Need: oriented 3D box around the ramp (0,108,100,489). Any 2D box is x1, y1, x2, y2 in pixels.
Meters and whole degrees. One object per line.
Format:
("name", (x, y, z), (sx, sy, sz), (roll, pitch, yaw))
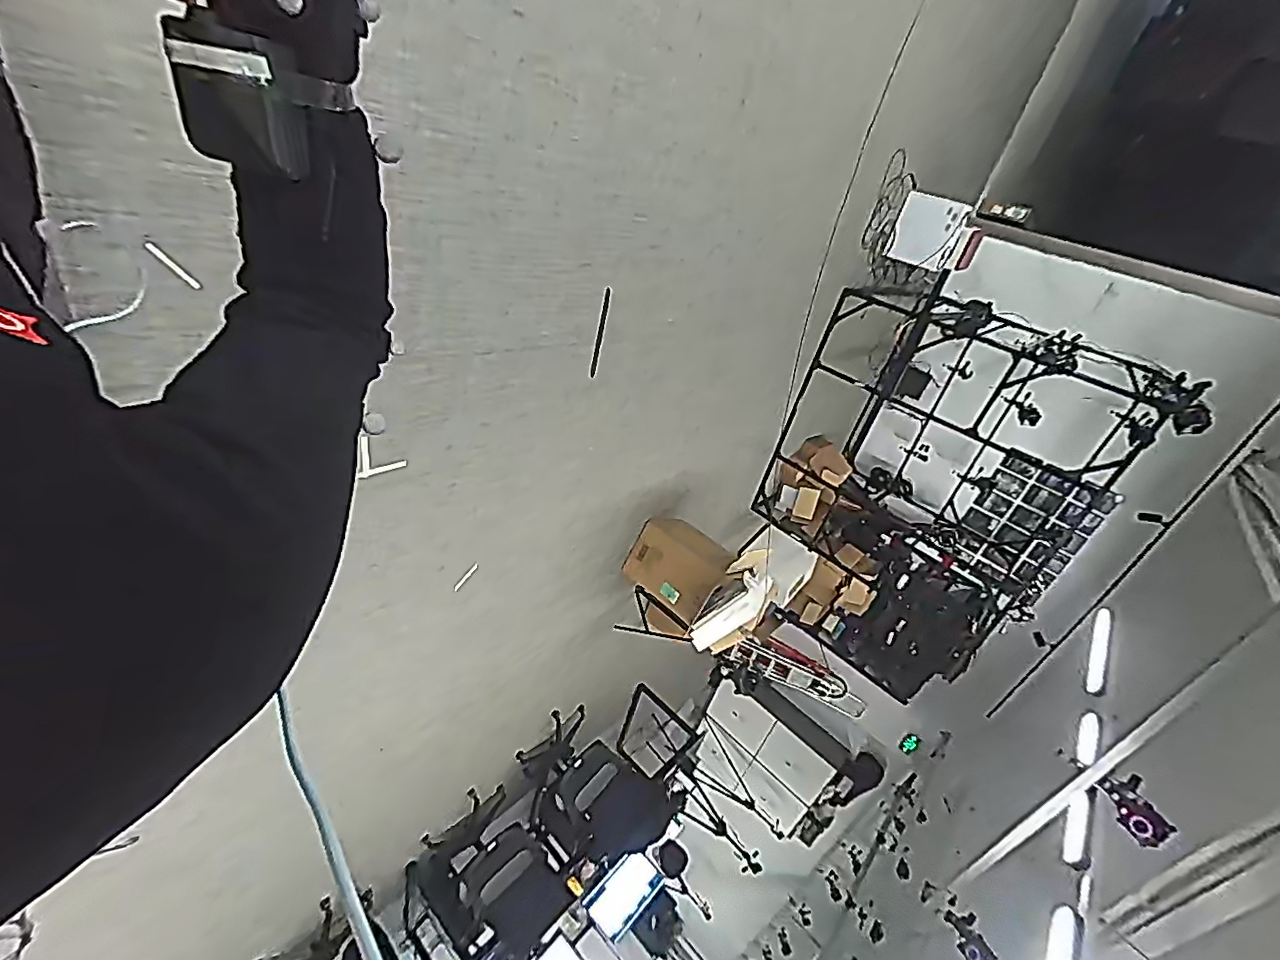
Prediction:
("ramp", (-1.252, -0.319, 0.824), (0.509, 0.206, 0.991), (-24, 140, -46))
